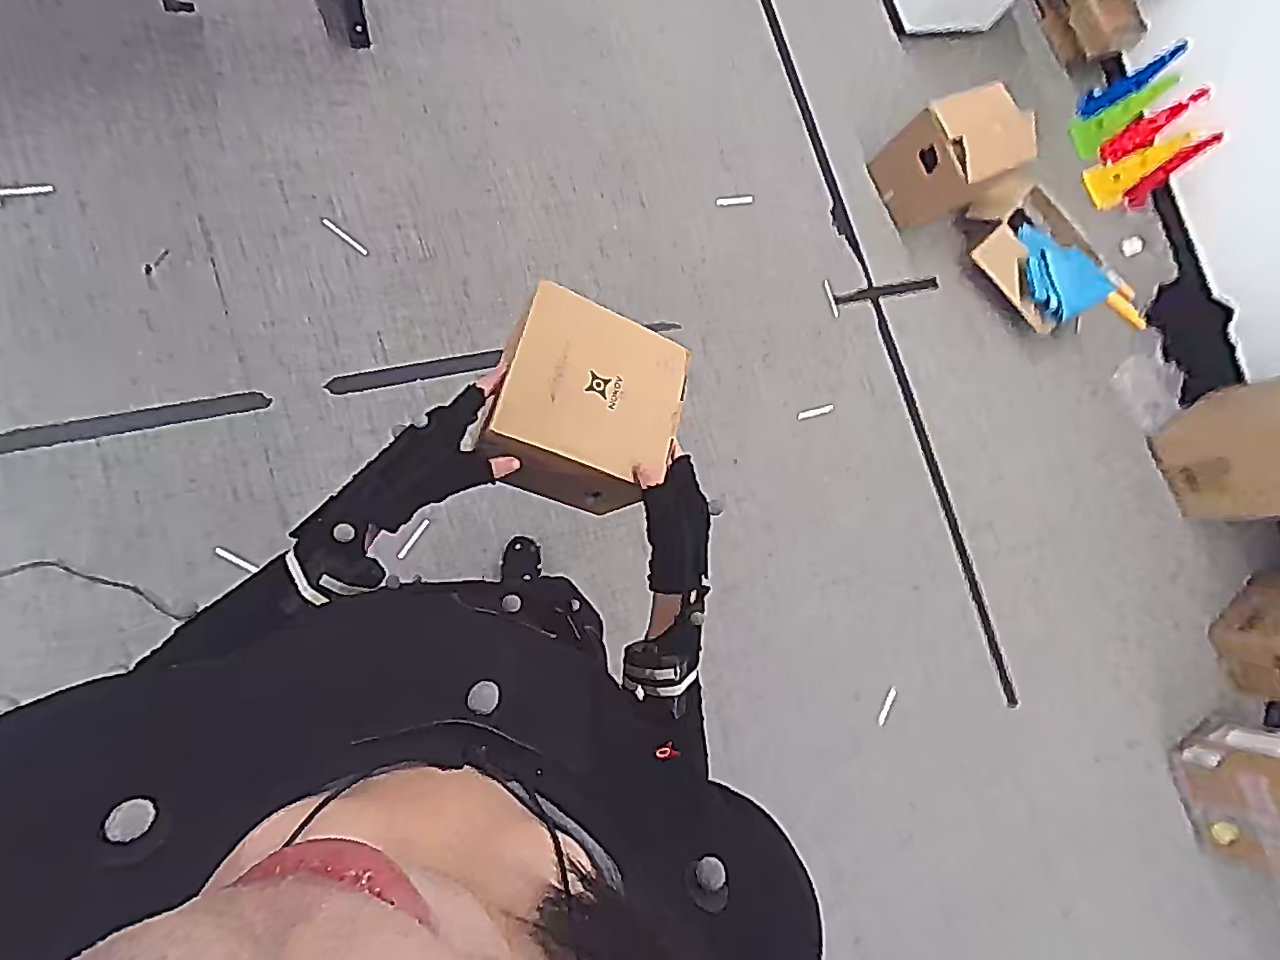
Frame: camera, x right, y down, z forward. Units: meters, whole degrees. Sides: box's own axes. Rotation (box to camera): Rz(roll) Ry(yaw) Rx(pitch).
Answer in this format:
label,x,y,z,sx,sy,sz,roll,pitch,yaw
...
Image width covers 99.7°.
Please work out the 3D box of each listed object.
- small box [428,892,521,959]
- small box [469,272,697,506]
label,x,y,z,sx,sy,sz,roll,pitch,yaw
small box,-0.364,1.088,1.211,0.168,0.176,0.179,-17,87,-19
small box,-0.066,-0.078,0.578,0.179,0.176,0.168,19,70,-21
